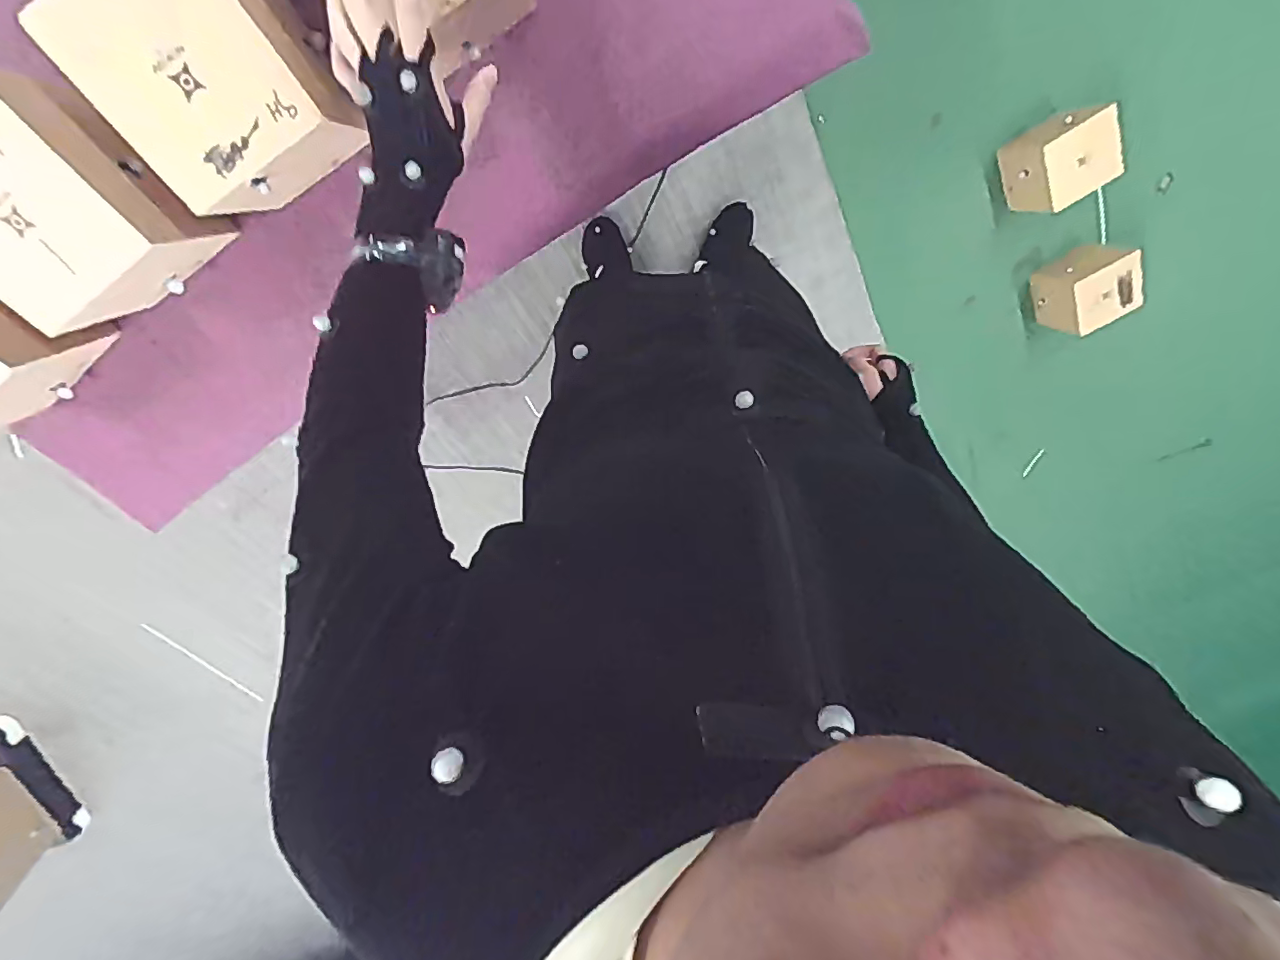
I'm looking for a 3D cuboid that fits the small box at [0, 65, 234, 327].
[{"bbox_3d":[-0.608,-0.299,0.586,0.168,0.176,0.179,-31,119,11],"label":"small box"}]

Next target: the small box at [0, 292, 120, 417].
[{"bbox_3d":[-0.796,-0.179,0.633,0.168,0.176,0.179,-35,118,13],"label":"small box"}]

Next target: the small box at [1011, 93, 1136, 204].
[{"bbox_3d":[1.050,-0.802,1.325,0.179,0.176,0.168,-31,118,10],"label":"small box"}]

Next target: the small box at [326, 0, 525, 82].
[{"bbox_3d":[-0.226,-0.518,0.506,0.168,0.176,0.179,-29,119,11],"label":"small box"}]
